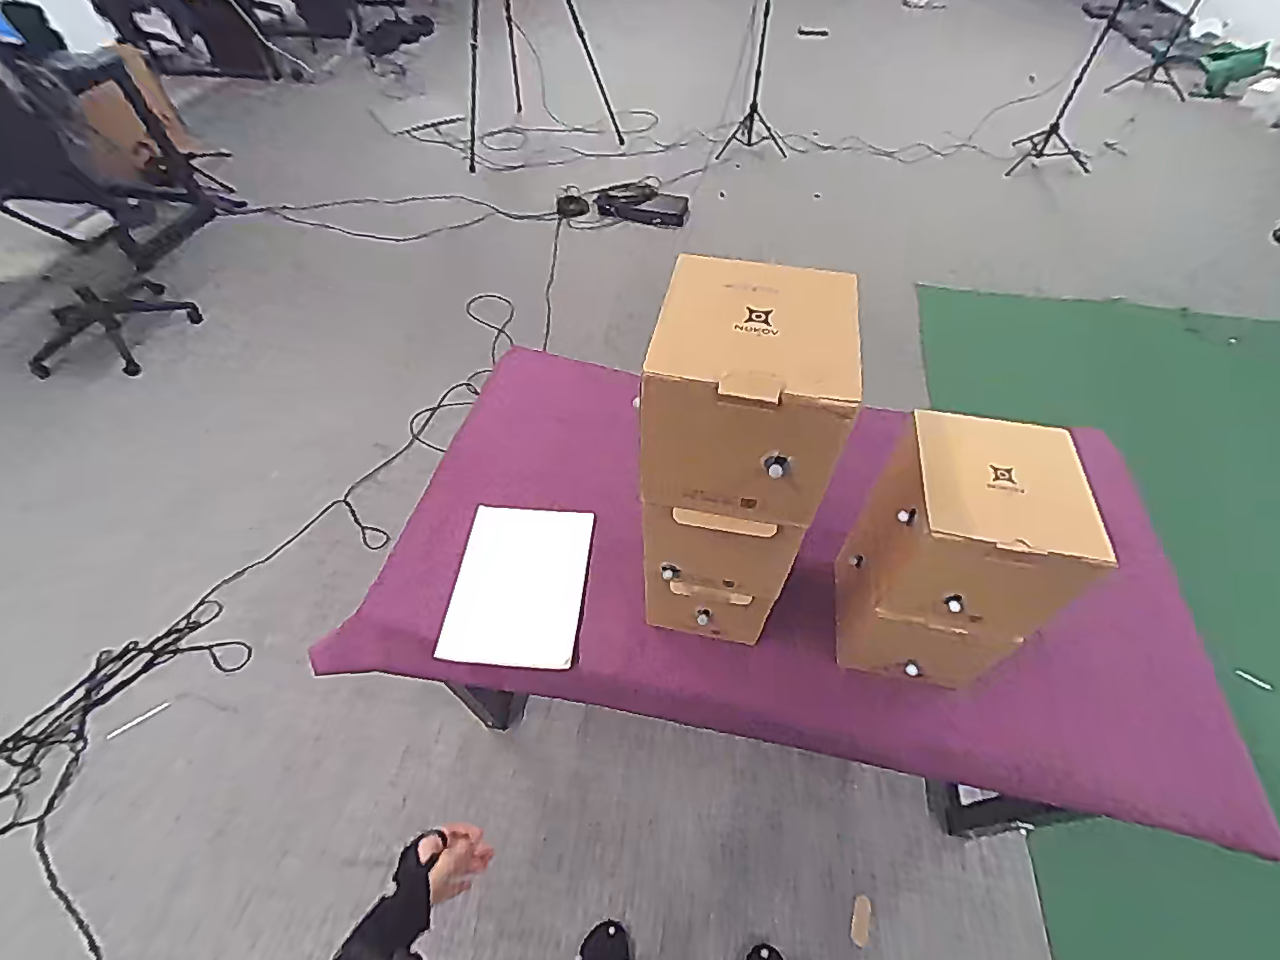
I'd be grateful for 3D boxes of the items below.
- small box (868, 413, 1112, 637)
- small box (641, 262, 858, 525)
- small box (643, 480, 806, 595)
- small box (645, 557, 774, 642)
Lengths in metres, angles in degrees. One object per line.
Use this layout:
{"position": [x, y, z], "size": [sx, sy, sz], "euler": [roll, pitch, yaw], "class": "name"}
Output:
{"position": [0.372, 0.053, 0.619], "size": [0.168, 0.176, 0.179], "euler": [10, 52, 8], "class": "small box"}
{"position": [0.101, -0.079, 0.519], "size": [0.168, 0.176, 0.179], "euler": [10, 52, 8], "class": "small box"}
{"position": [0.103, 0.017, 0.650], "size": [0.168, 0.176, 0.179], "euler": [9, 52, 8], "class": "small box"}
{"position": [0.106, 0.114, 0.784], "size": [0.168, 0.176, 0.179], "euler": [10, 53, 8], "class": "small box"}
